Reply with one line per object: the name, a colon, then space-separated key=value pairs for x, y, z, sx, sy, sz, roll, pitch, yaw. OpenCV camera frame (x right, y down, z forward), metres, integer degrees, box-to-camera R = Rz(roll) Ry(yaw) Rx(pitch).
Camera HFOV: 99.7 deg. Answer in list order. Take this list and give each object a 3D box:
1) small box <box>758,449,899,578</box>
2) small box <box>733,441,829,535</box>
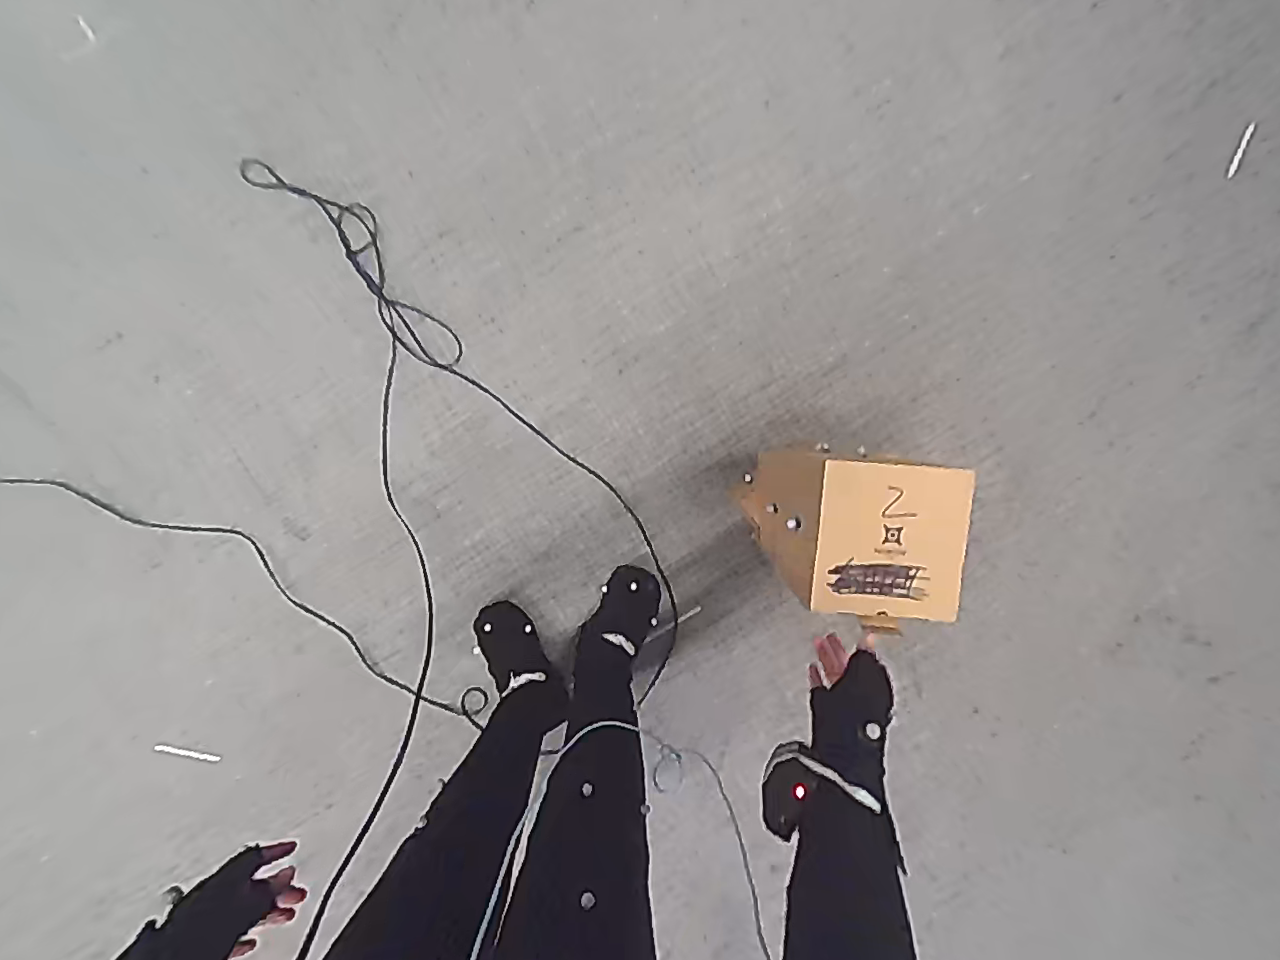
small box: x=0.283 y=0.043 z=0.844 sx=0.168 sy=0.176 sz=0.179 roll=-3 pitch=97 yaw=1
small box: x=0.286 y=0.044 z=0.992 sx=0.179 sy=0.176 sz=0.168 roll=-37 pitch=95 yaw=3
